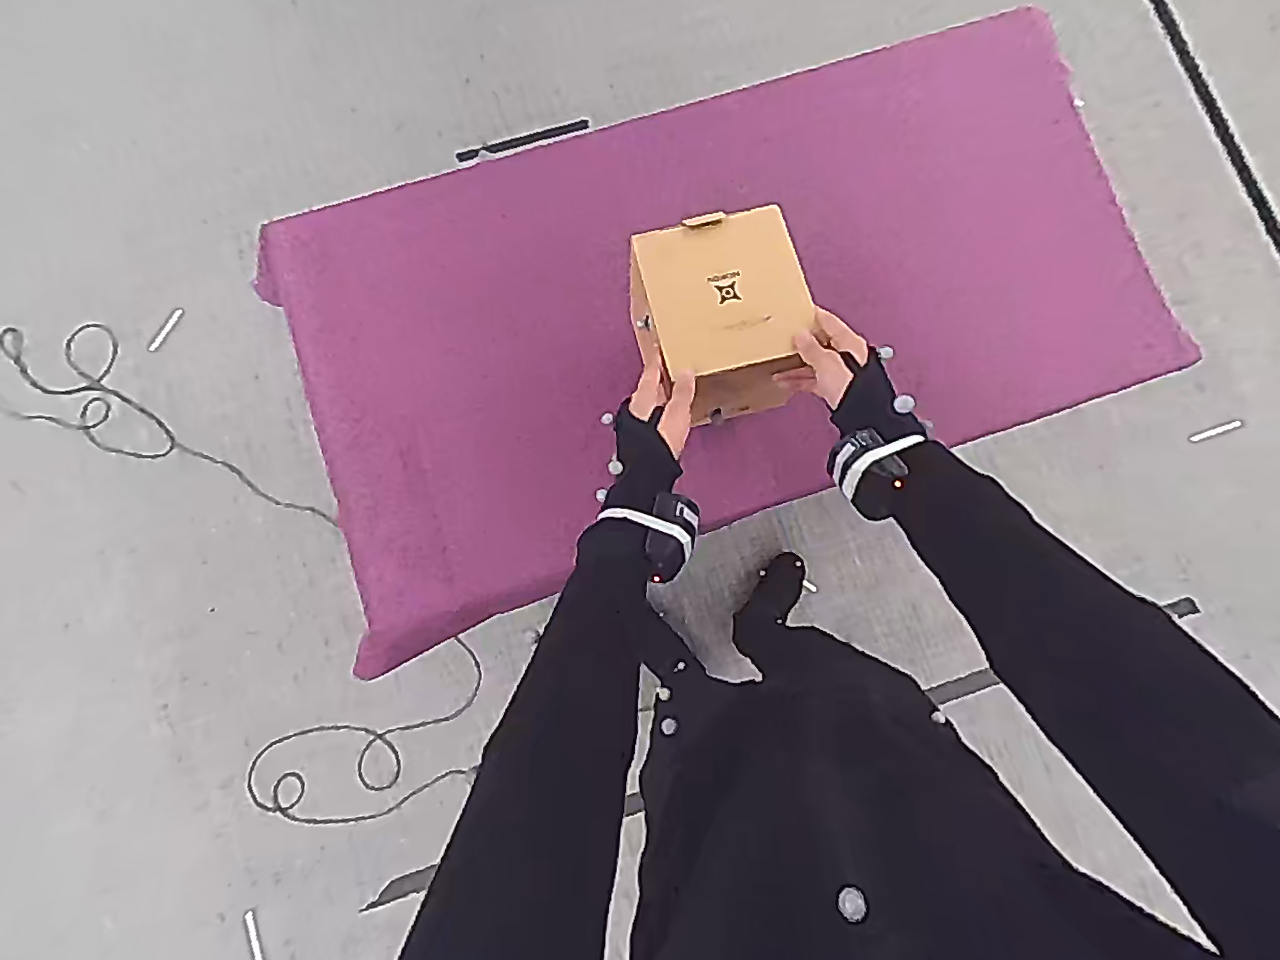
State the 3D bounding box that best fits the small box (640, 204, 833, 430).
[{"bbox_3d":[0.095,-0.178,0.629,0.168,0.176,0.179,-13,77,-3],"label":"small box"}]
